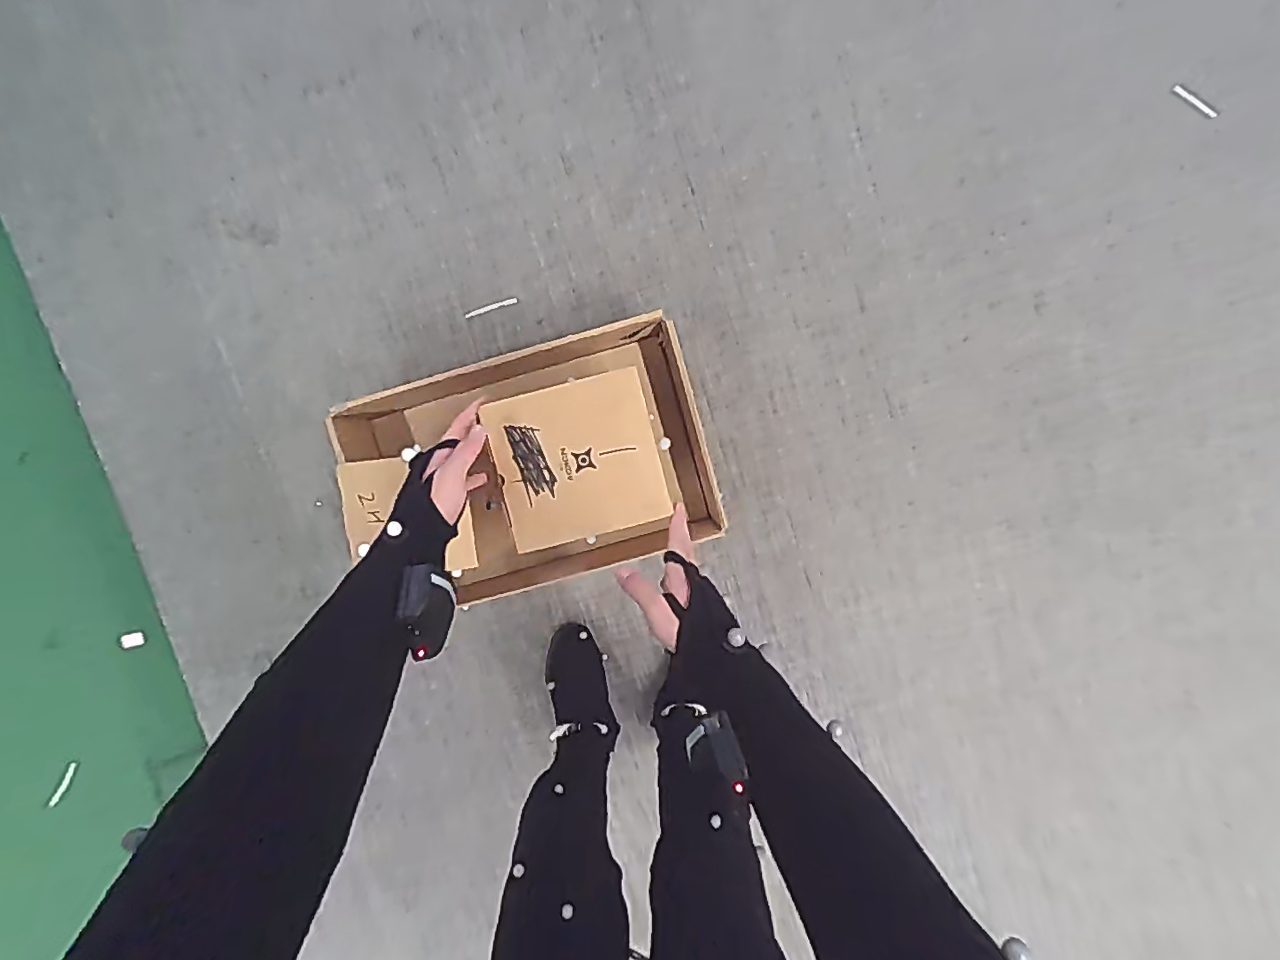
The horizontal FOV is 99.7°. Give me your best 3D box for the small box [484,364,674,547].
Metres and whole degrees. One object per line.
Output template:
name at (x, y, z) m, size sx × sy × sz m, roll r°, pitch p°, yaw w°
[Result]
small box at (-0.062, -0.029, 0.652) m, size 0.179 × 0.176 × 0.168 m, roll -14°, pitch 94°, yaw 2°
